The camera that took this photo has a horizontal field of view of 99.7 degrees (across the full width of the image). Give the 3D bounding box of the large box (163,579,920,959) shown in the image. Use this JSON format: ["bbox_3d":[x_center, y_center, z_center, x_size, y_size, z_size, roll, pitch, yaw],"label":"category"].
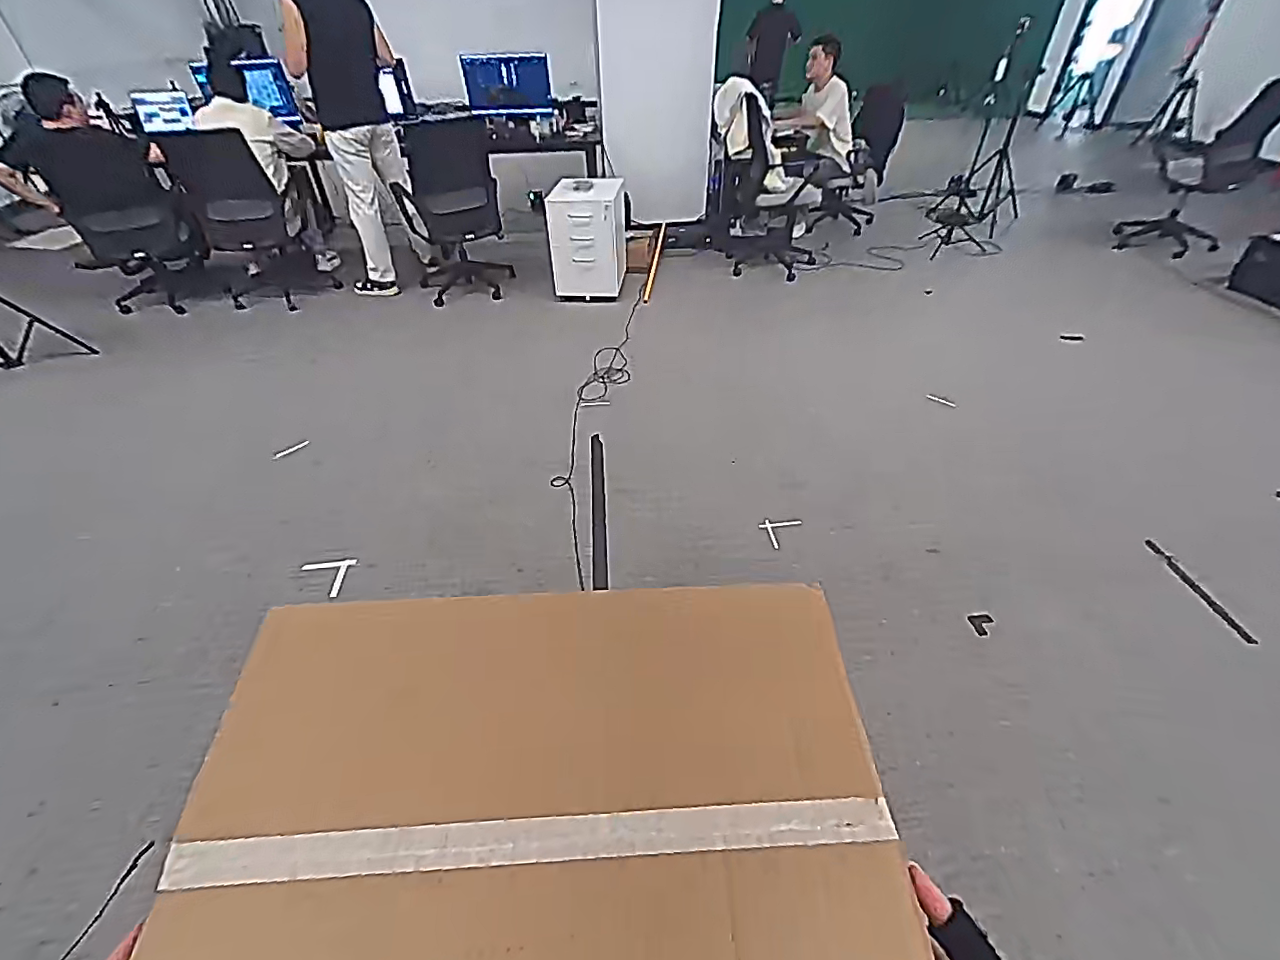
[{"bbox_3d":[-0.056,0.300,0.436,0.408,0.320,0.320,-2,52,-2],"label":"large box"}]
